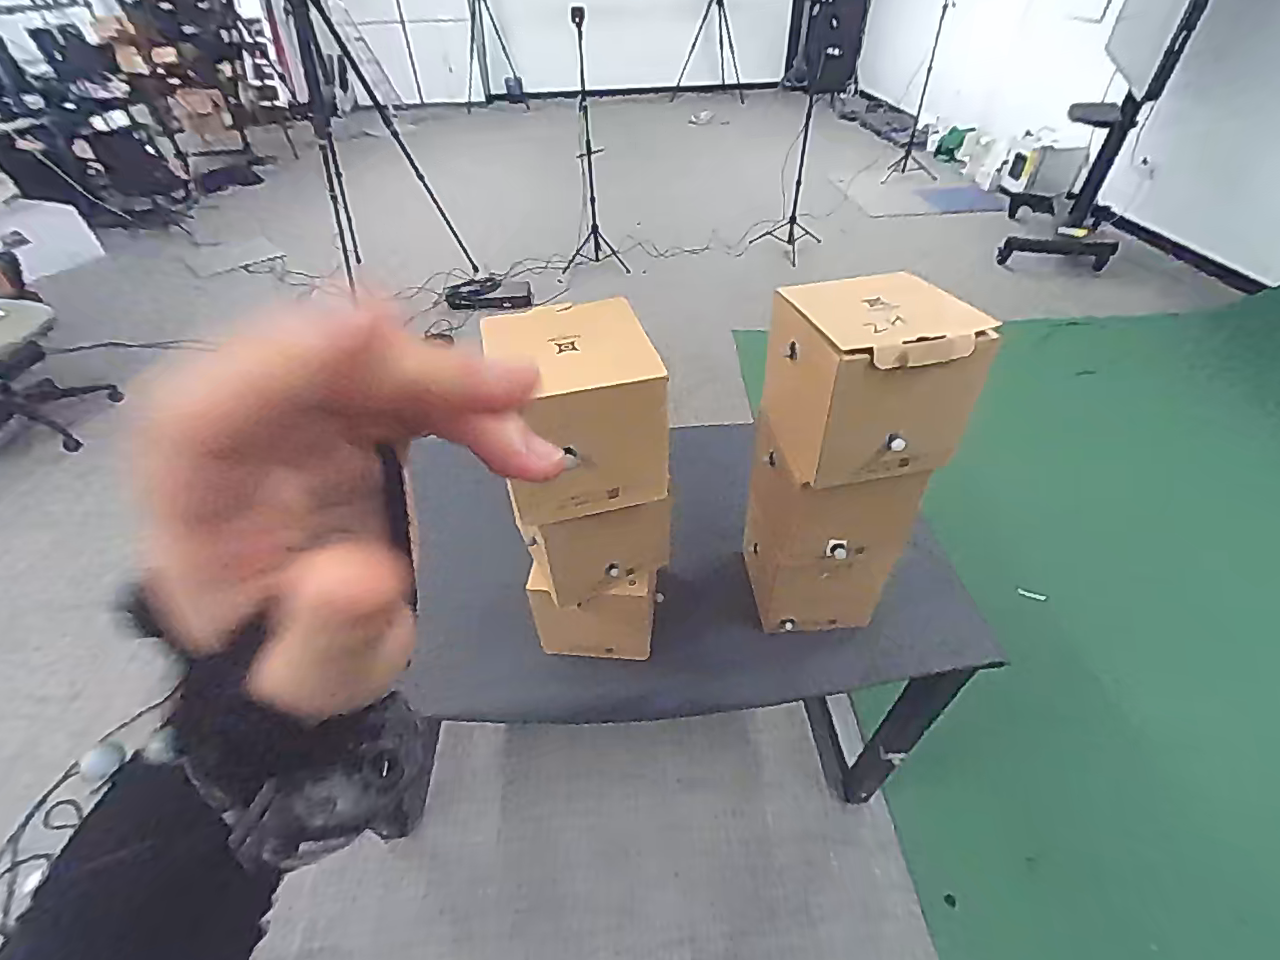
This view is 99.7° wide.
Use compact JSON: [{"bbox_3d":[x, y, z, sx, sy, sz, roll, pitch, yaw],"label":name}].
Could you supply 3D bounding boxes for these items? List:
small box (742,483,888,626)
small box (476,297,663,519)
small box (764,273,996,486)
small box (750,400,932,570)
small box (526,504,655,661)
[{"bbox_3d":[0.262,0.116,0.853,0.168,0.176,0.179,-4,41,-1],"label":"small box"},{"bbox_3d":[-0.074,-0.075,0.594,0.168,0.176,0.179,-12,44,-10],"label":"small box"},{"bbox_3d":[0.252,-0.118,0.624,0.168,0.176,0.179,-10,42,-5],"label":"small box"},{"bbox_3d":[0.256,-0.001,0.742,0.168,0.176,0.179,-7,43,-3],"label":"small box"},{"bbox_3d":[-0.065,0.151,0.832,0.168,0.176,0.179,2,42,5],"label":"small box"}]
